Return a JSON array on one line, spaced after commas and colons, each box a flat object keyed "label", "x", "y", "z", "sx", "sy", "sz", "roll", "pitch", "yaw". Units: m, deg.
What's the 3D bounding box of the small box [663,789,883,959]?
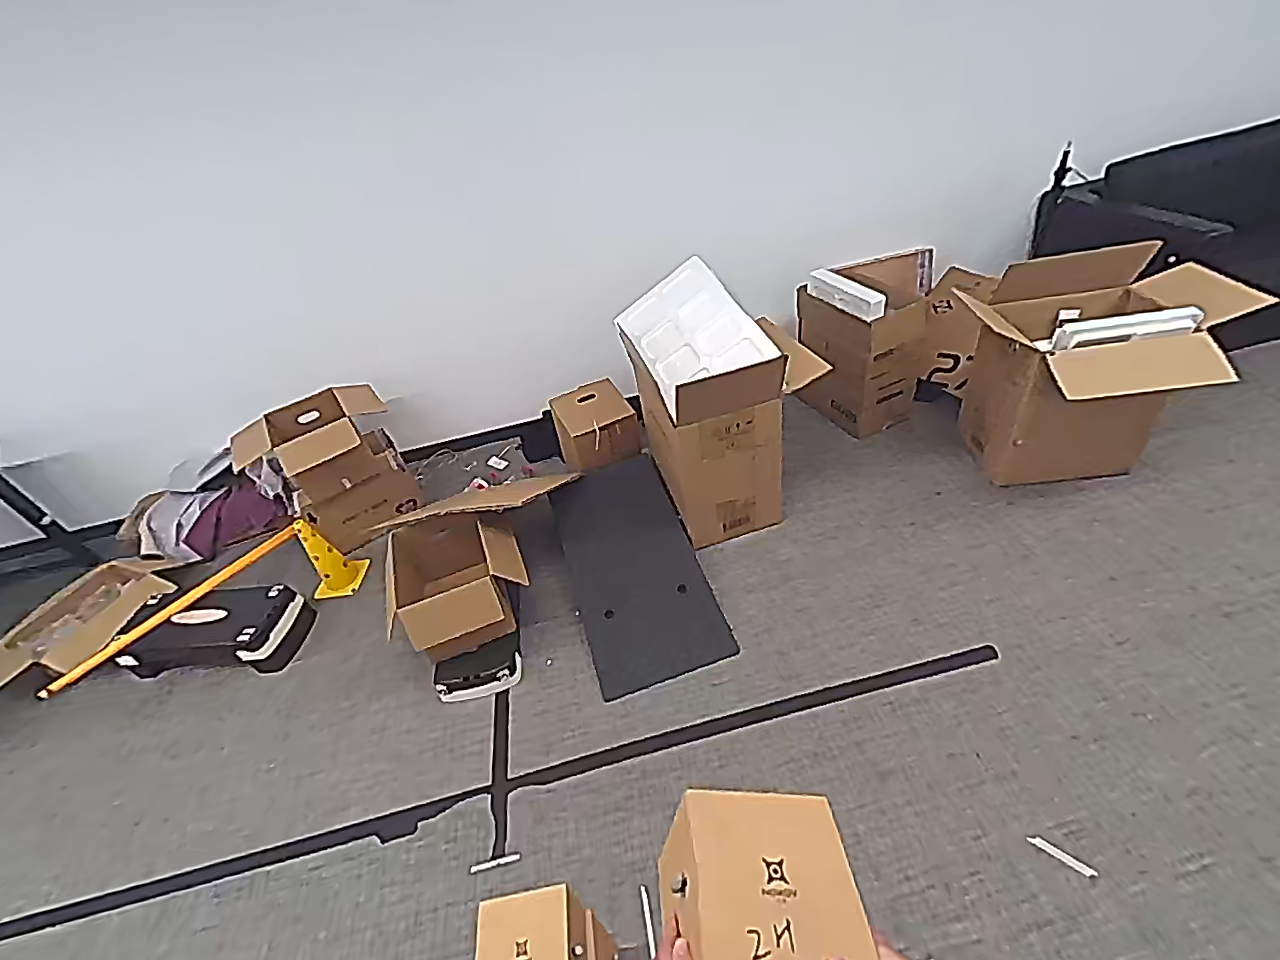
[{"label": "small box", "x": 0.121, "y": 0.458, "z": 0.560, "sx": 0.168, "sy": 0.176, "sz": 0.179, "roll": 7, "pitch": 30, "yaw": -6}]

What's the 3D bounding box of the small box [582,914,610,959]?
[{"label": "small box", "x": -0.154, "y": 1.002, "z": 1.070, "sx": 0.179, "sy": 0.176, "sz": 0.168, "roll": -13, "pitch": 39, "yaw": -3}]

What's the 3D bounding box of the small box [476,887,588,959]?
[{"label": "small box", "x": -0.190, "y": 0.876, "z": 0.972, "sx": 0.168, "sy": 0.176, "sz": 0.179, "roll": -12, "pitch": 39, "yaw": -2}]
